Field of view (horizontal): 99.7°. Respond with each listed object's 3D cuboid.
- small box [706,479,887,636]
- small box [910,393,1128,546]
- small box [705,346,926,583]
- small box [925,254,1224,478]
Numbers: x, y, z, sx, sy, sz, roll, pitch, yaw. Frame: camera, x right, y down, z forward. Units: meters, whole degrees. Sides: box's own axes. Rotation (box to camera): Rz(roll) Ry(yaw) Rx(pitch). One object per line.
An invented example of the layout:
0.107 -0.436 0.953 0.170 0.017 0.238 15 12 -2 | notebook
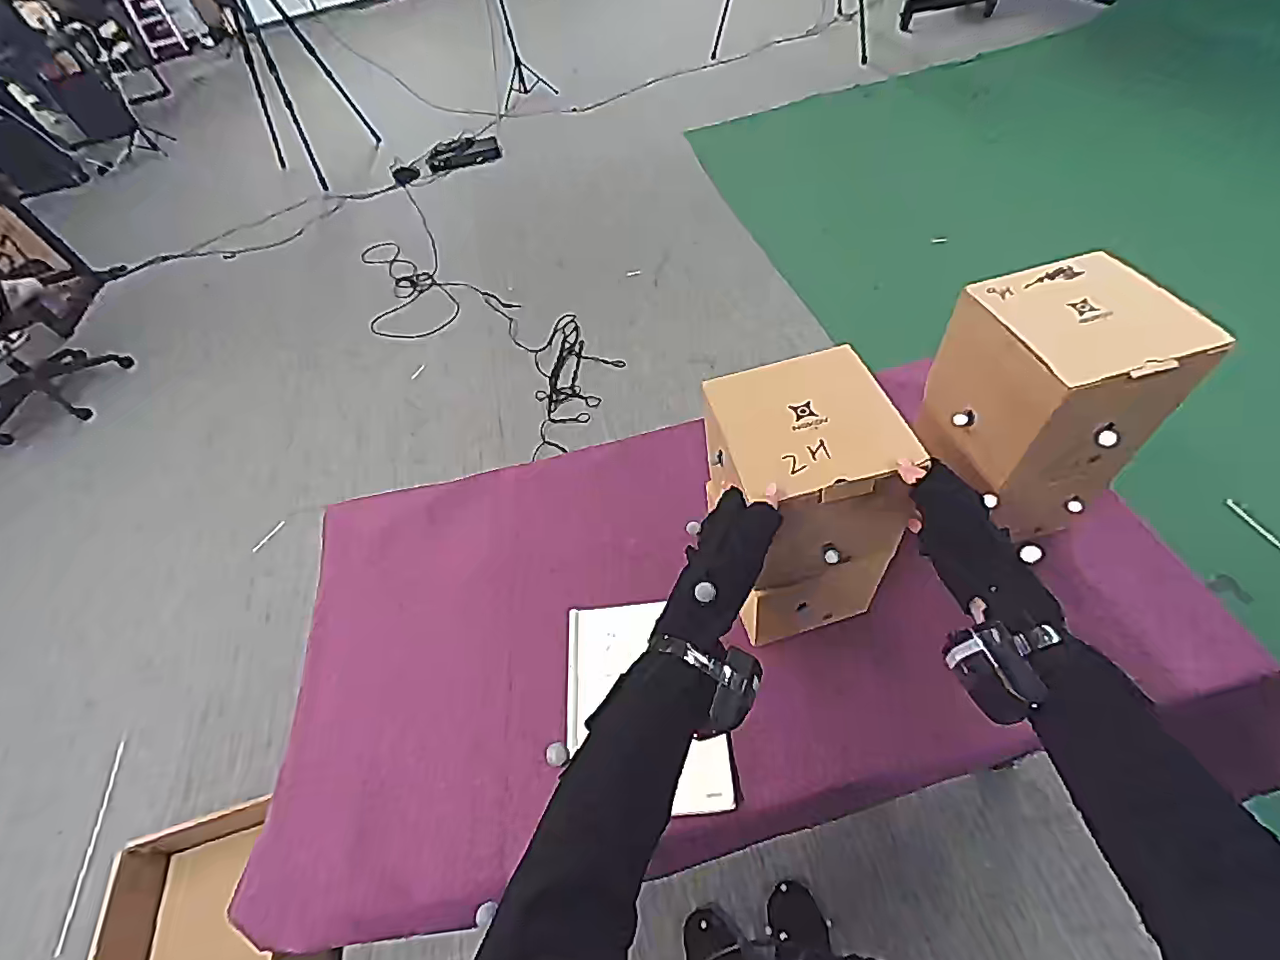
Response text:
0.196 0.090 0.720 0.168 0.176 0.179 -17 52 -2 | small box
0.494 -0.026 0.749 0.168 0.176 0.179 -14 52 -1 | small box
0.173 -0.013 0.593 0.168 0.176 0.179 -14 52 1 | small box
0.464 -0.120 0.618 0.168 0.176 0.179 -14 53 -1 | small box
